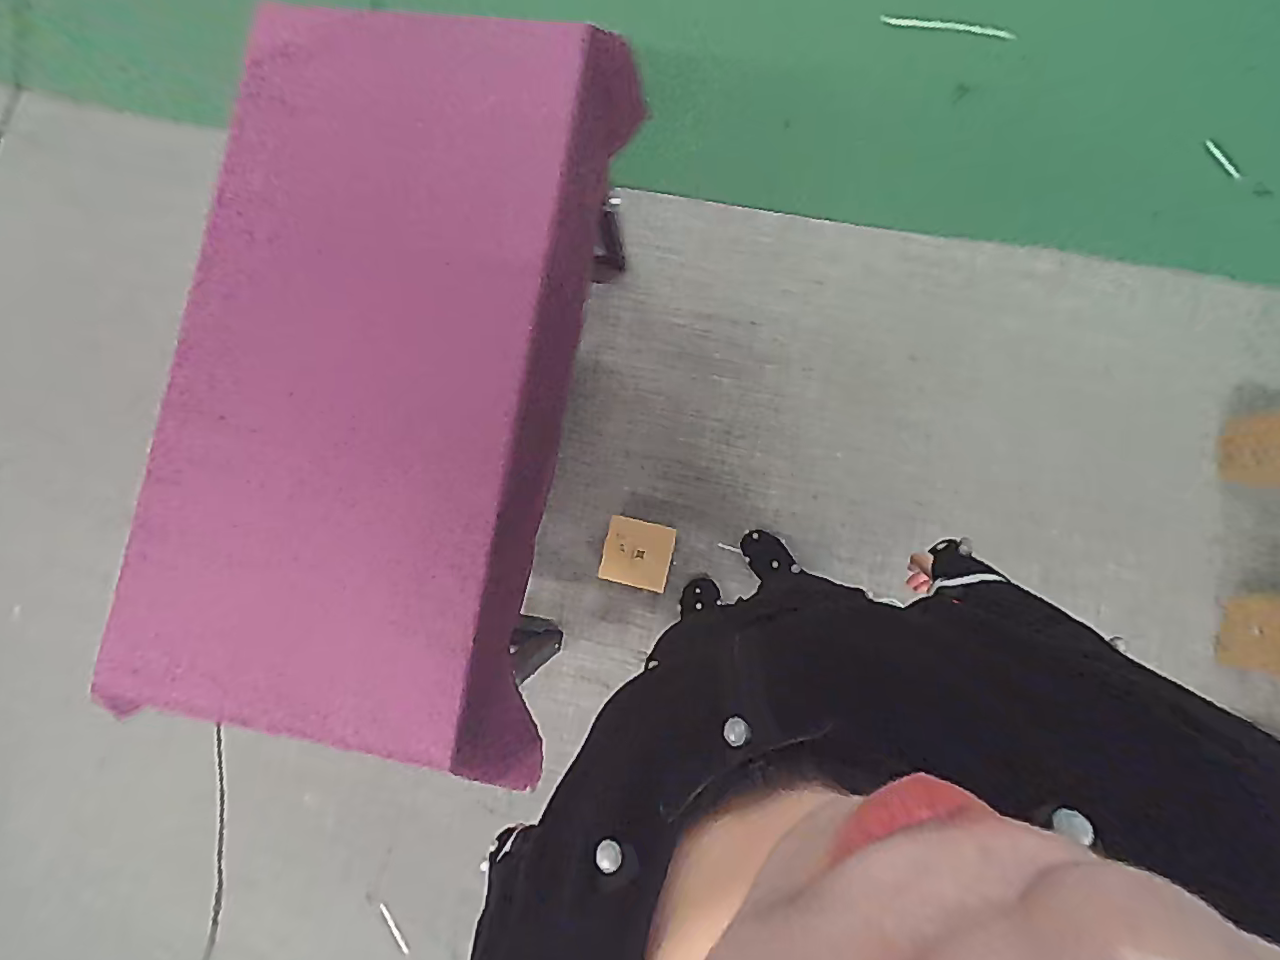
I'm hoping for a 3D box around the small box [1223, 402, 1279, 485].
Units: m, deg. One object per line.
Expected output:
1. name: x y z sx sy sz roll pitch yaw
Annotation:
1. small box: 1.590 -0.084 1.314 0.179 0.176 0.168 10 85 6
